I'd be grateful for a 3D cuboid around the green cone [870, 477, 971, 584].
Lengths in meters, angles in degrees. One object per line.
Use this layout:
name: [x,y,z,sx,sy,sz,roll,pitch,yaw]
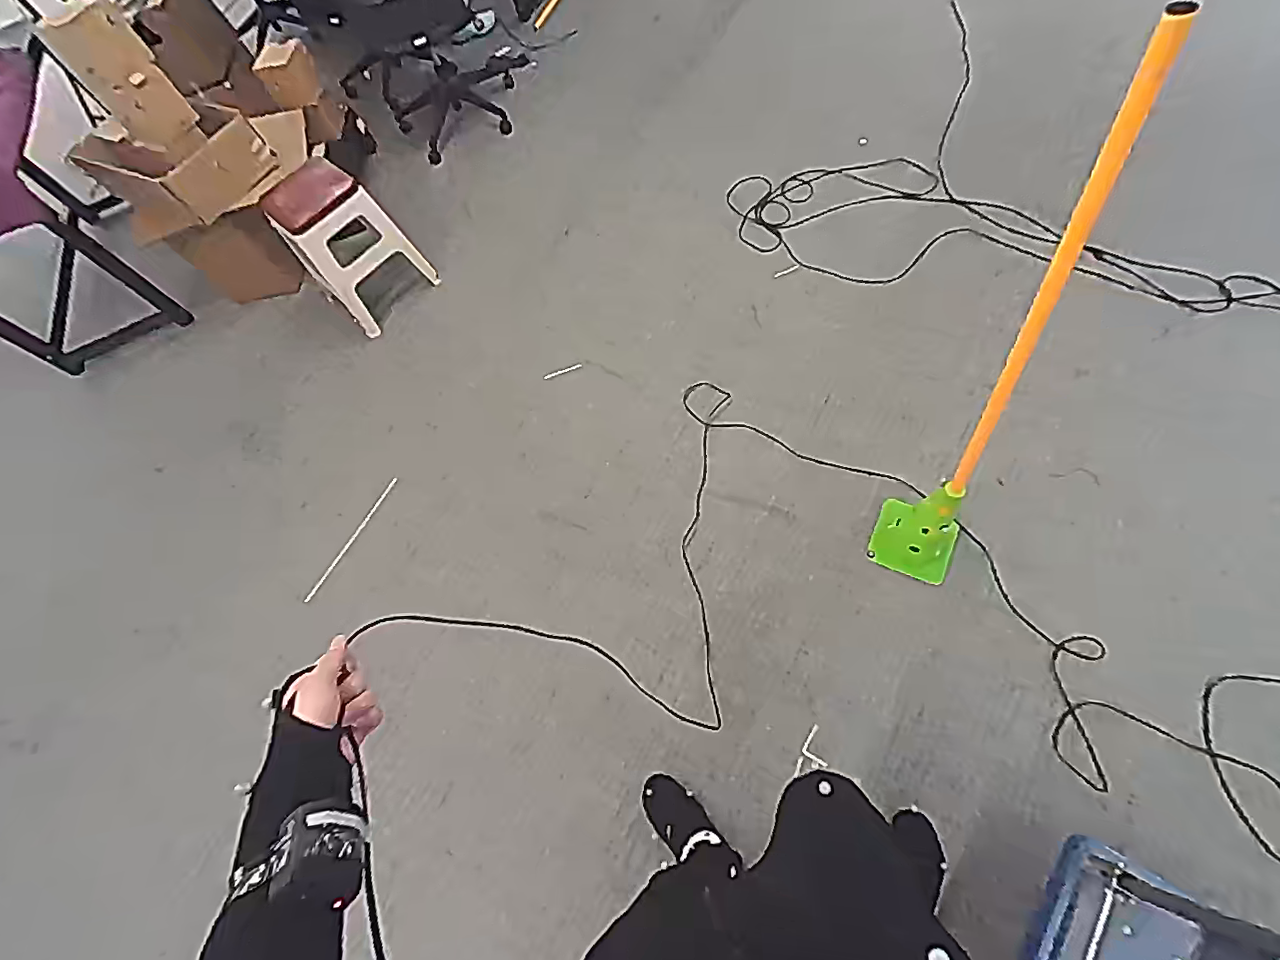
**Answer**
green cone: [0.723,0.092,1.320,0.200,0.368,0.202,21,70,19]
